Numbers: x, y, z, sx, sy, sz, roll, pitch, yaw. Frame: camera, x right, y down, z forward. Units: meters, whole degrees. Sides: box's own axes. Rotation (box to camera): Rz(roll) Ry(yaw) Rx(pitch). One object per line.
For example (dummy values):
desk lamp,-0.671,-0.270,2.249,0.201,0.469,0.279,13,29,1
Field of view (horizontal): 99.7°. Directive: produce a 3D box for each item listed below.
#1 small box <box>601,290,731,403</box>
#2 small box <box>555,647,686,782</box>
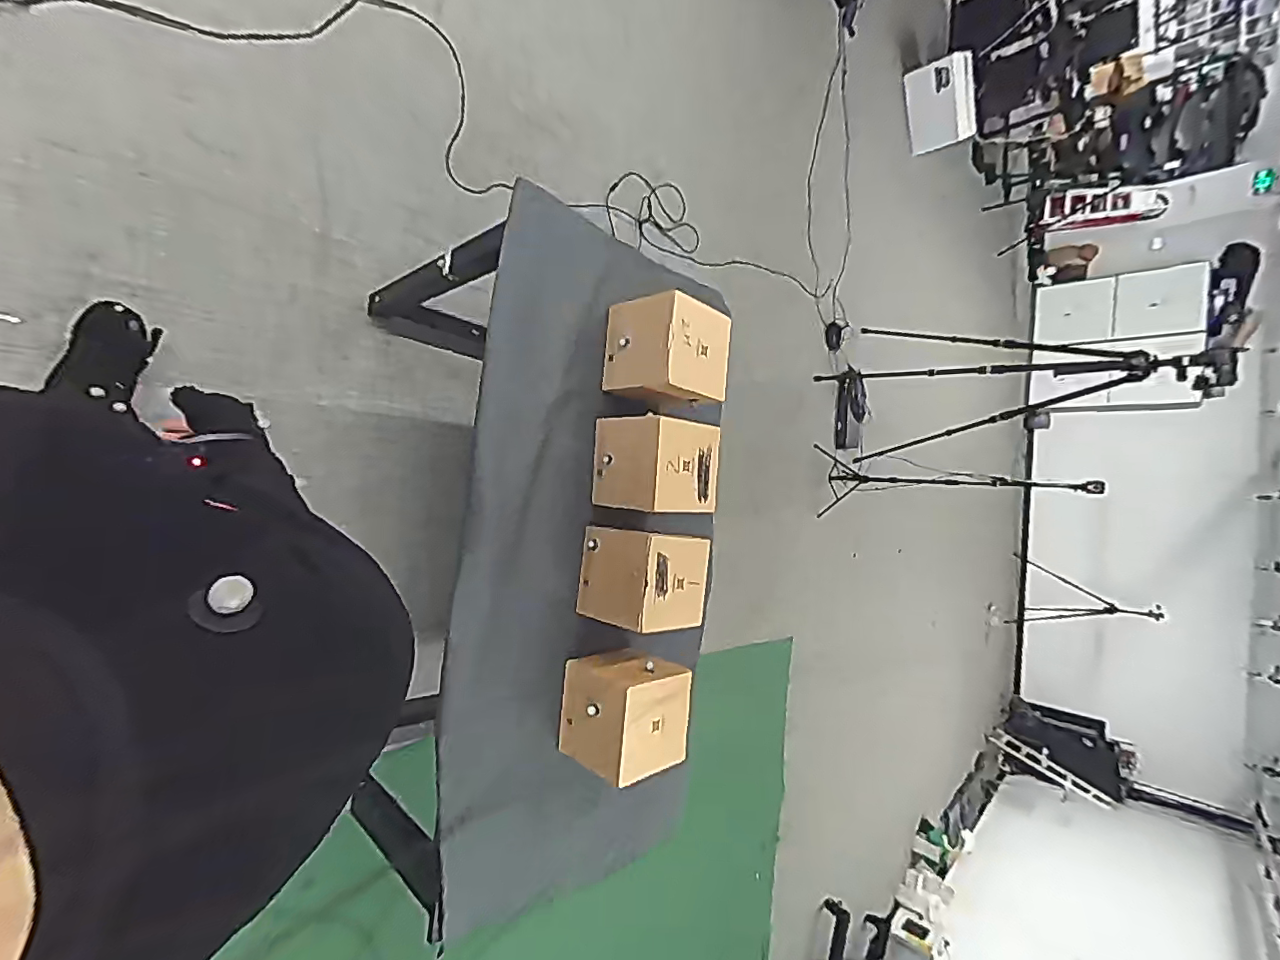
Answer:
small box,0.051,-0.245,1.040,0.179,0.176,0.168,7,88,-47
small box,-0.038,0.421,1.003,0.179,0.176,0.168,8,87,-47
